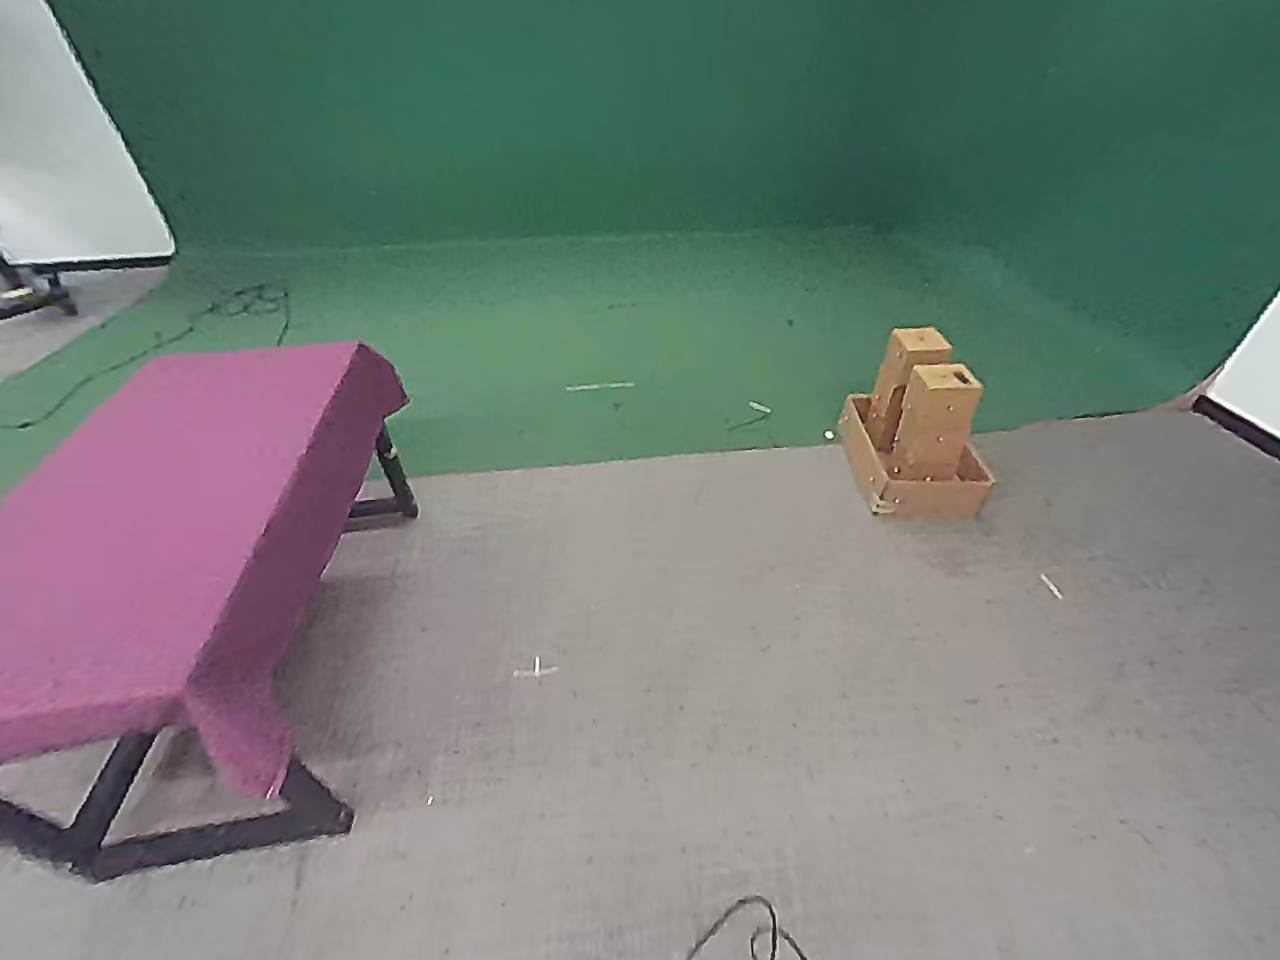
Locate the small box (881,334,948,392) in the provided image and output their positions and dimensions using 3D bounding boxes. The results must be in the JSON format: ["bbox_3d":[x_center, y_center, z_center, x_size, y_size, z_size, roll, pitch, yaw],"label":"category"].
[{"bbox_3d":[1.086,-0.462,2.151,0.168,0.176,0.179,-1,41,1],"label":"small box"}]

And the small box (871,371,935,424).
[{"bbox_3d":[1.096,-0.346,2.269,0.179,0.176,0.168,-1,41,3],"label":"small box"}]

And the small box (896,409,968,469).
[{"bbox_3d":[1.085,-0.151,2.033,0.179,0.176,0.168,0,39,1],"label":"small box"}]
